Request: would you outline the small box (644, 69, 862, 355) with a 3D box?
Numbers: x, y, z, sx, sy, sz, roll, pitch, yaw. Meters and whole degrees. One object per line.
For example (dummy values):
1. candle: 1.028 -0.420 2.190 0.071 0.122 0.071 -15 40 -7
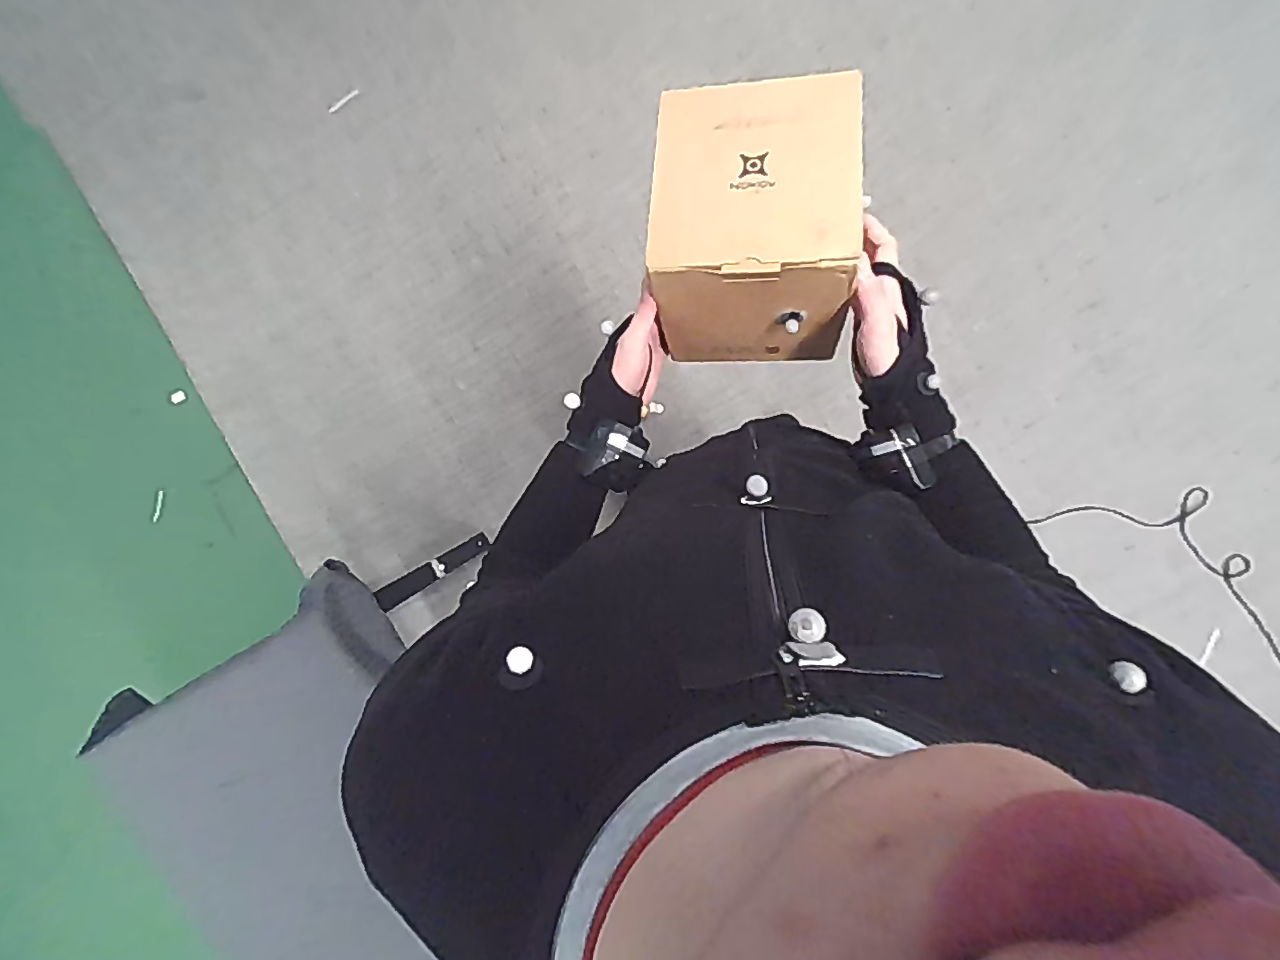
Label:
1. small box: 0.104 -0.228 0.505 0.168 0.176 0.179 2 76 10
